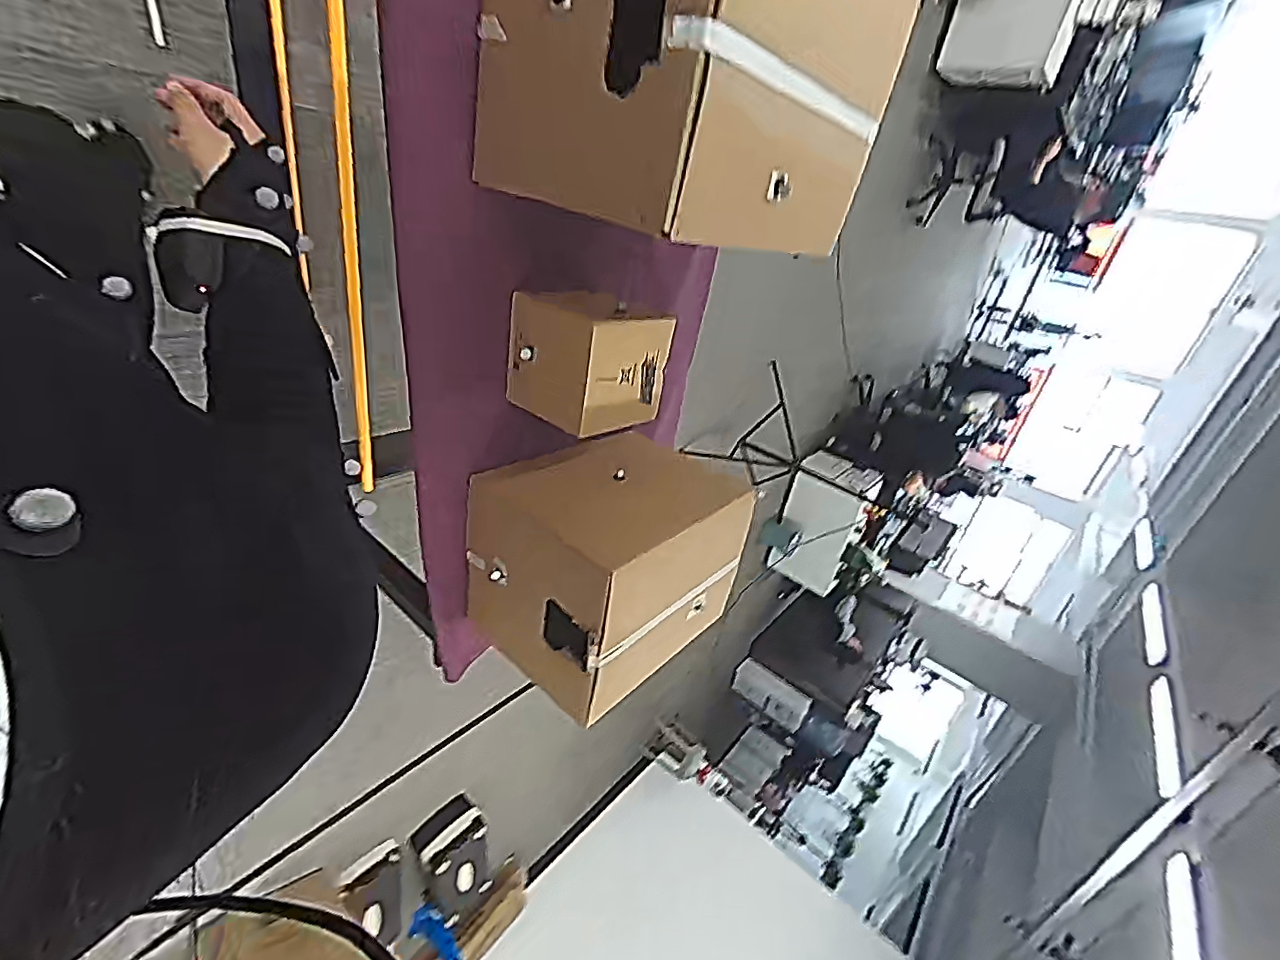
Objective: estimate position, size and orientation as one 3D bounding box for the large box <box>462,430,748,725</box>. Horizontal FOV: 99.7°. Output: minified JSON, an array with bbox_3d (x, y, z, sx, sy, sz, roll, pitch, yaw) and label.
[{"bbox_3d":[-0.065,0.136,0.981,0.408,0.320,0.320,-23,133,-47],"label":"large box"}]
